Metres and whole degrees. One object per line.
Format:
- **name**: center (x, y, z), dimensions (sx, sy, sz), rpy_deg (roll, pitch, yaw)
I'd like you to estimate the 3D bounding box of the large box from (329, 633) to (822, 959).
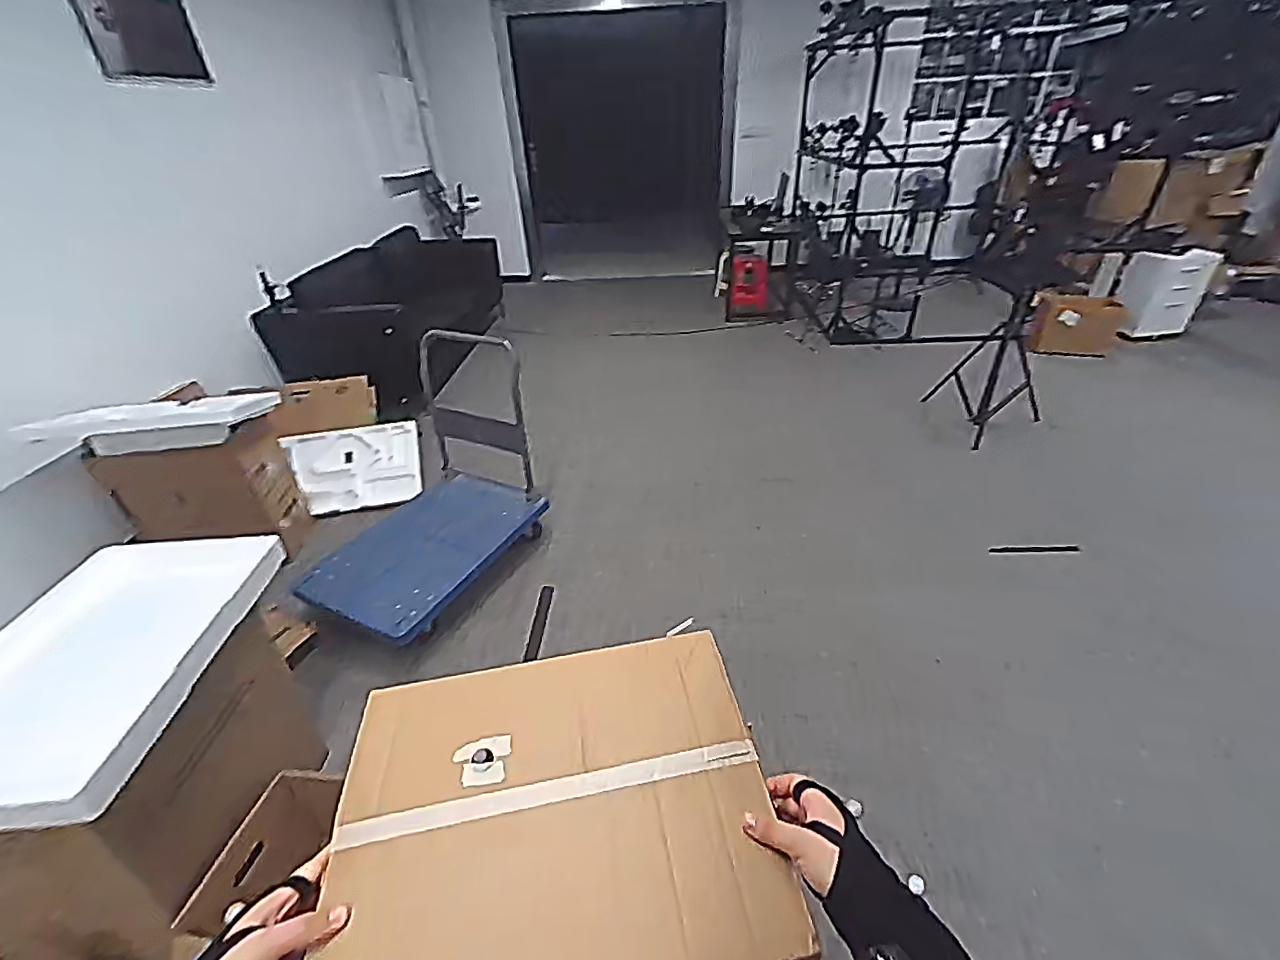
- **large box**: center (-0.060, 0.428, 0.615), dimensions (0.408, 0.320, 0.320), rpy_deg (-10, 35, -5)
